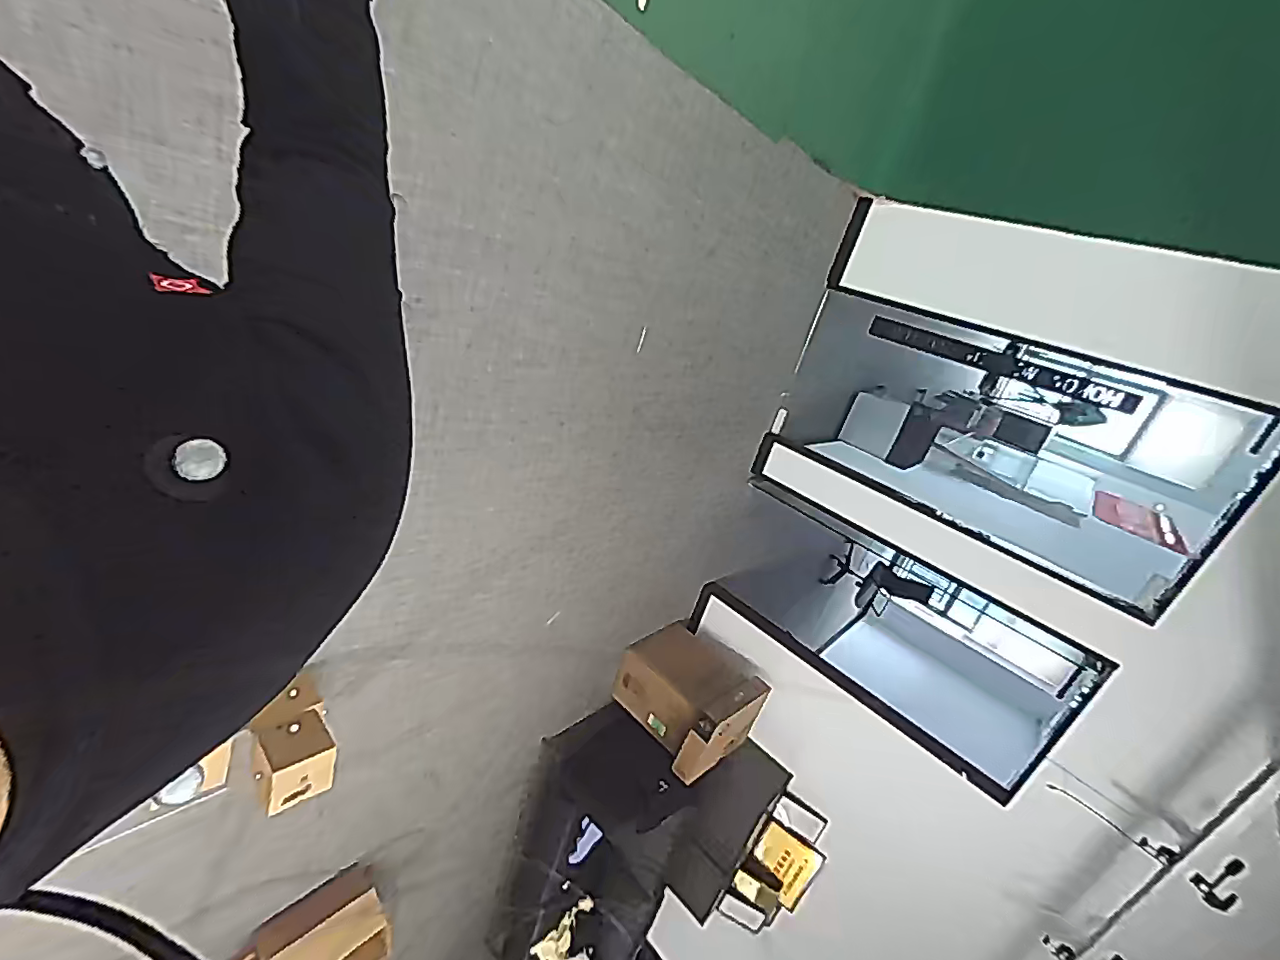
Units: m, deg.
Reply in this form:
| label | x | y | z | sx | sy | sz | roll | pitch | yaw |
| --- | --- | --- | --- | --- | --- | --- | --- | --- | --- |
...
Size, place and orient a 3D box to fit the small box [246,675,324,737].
| label | x | y | z | sx | sy | sz | roll | pitch | yaw |
| --- | --- | --- | --- | --- | --- | --- | --- | --- | --- |
| small box | -1.117 | 0.743 | 1.702 | 0.168 | 0.176 | 0.179 | -16 | 129 | -47 |

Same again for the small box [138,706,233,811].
| label | x | y | z | sx | sy | sz | roll | pitch | yaw |
| --- | --- | --- | --- | --- | --- | --- | --- | --- | --- |
| small box | -1.273 | 0.762 | 1.509 | 0.168 | 0.176 | 0.179 | -1 | 117 | -52 |

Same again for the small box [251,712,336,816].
| label | x | y | z | sx | sy | sz | roll | pitch | yaw |
| --- | --- | --- | --- | --- | --- | --- | --- | --- | --- |
| small box | -1.023 | 0.826 | 1.591 | 0.168 | 0.176 | 0.179 | -7 | 122 | -50 |
